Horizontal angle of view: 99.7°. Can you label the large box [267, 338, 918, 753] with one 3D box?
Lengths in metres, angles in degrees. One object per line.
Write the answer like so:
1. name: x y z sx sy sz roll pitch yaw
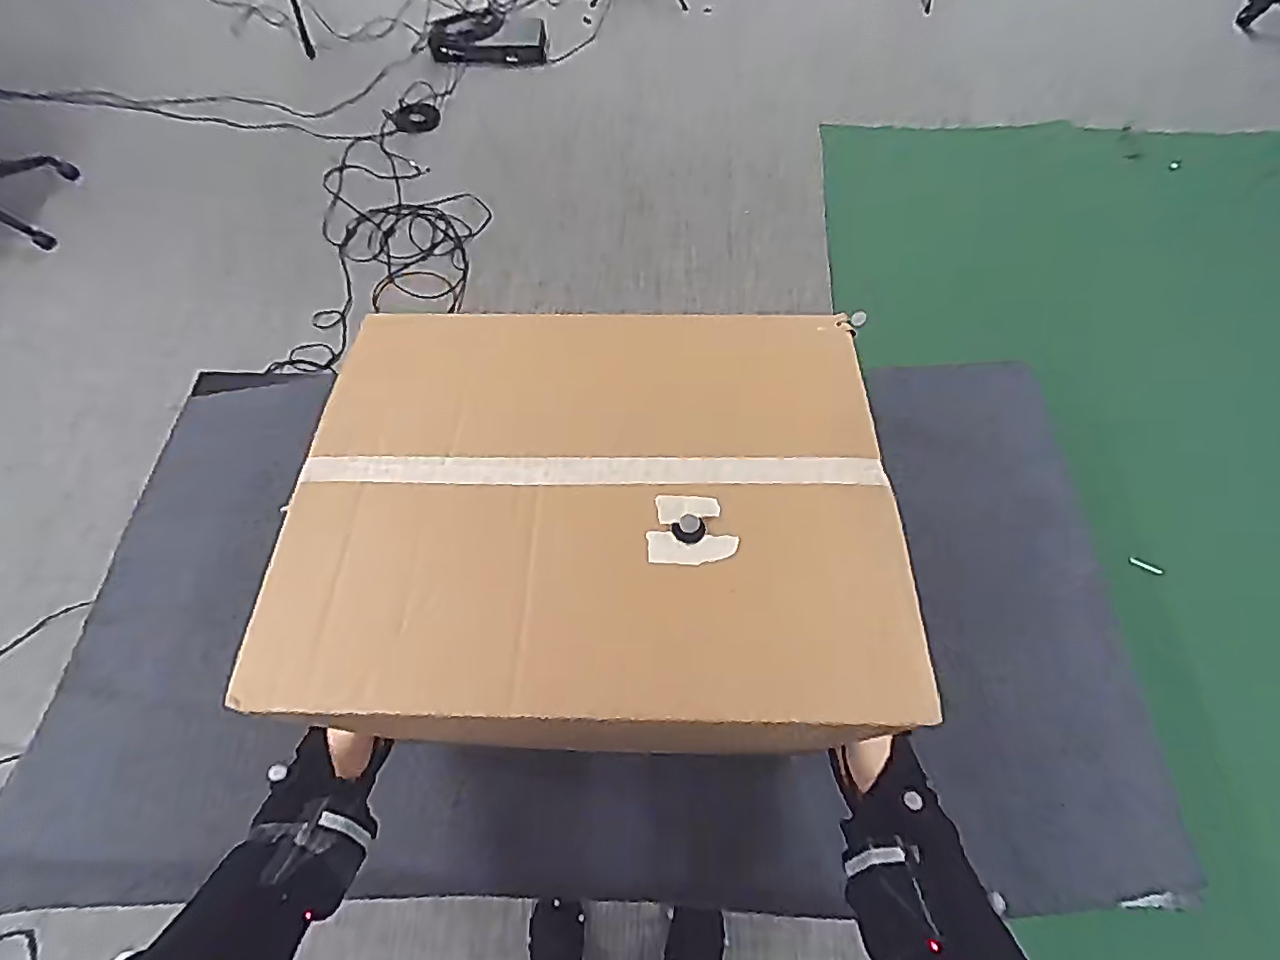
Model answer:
1. large box: -0.029 0.083 0.526 0.408 0.320 0.320 1 61 1
